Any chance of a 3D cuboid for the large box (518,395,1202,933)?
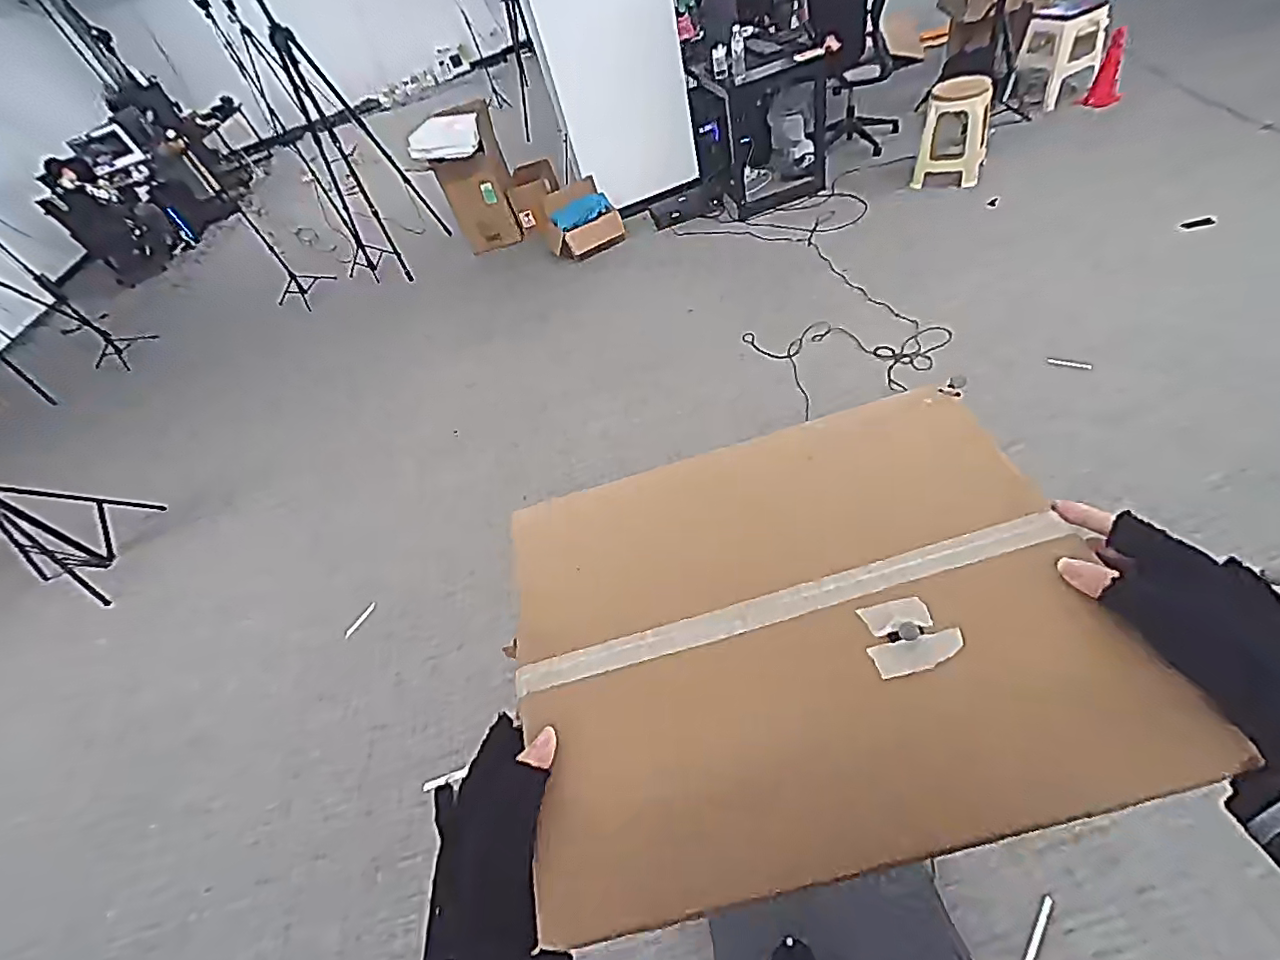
[{"bbox_3d":[0.136,0.183,0.524,0.408,0.320,0.320,-17,53,3],"label":"large box"}]
